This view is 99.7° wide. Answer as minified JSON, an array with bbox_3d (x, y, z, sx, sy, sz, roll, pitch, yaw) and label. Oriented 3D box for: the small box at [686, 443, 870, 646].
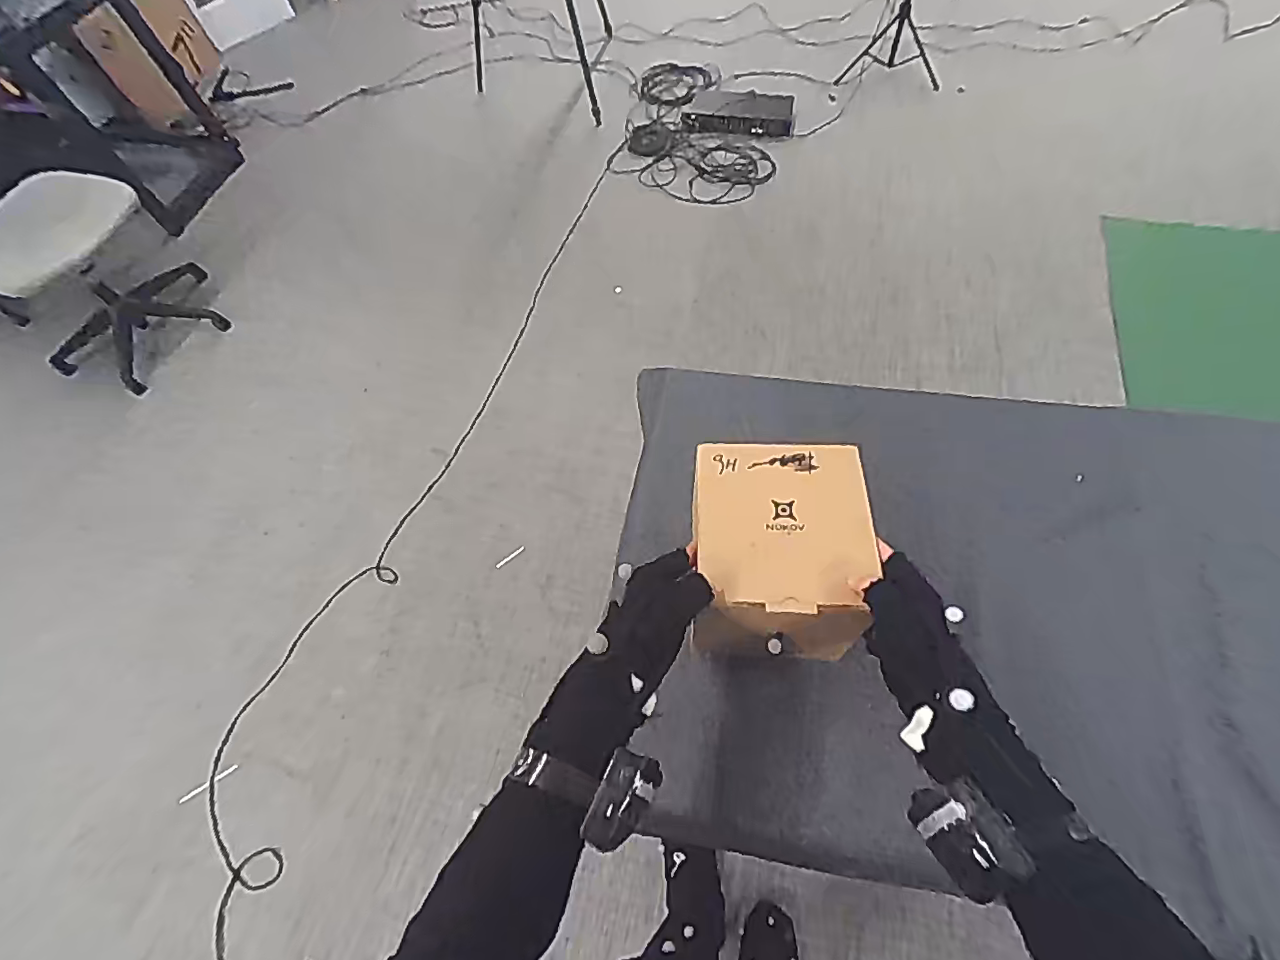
[{"bbox_3d":[0.135,0.076,0.595,0.168,0.176,0.179,1,59,5],"label":"small box"}]
